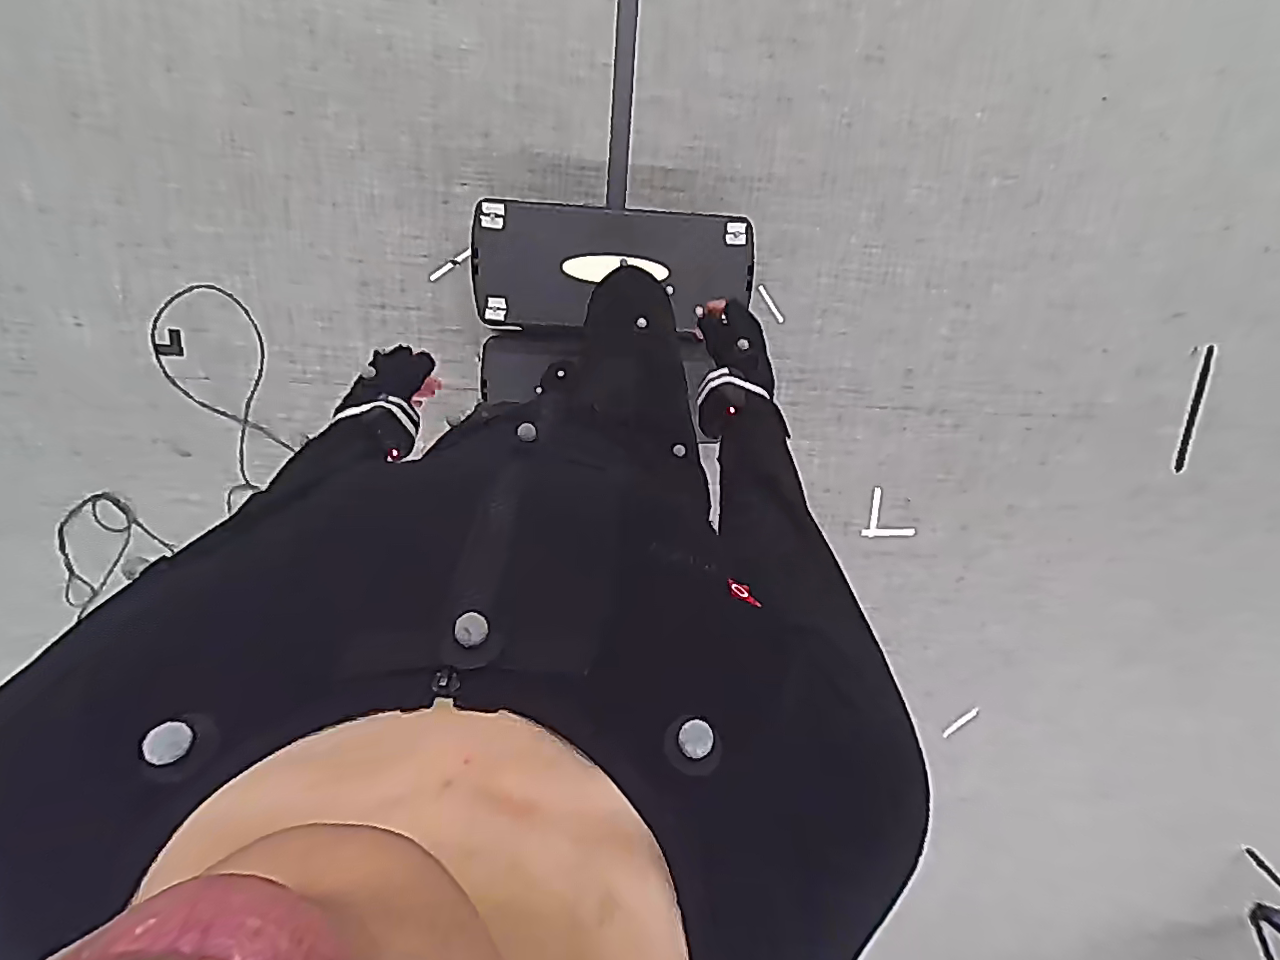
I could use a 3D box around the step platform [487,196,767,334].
[{"bbox_3d":[-0.031,-0.527,1.359,0.684,0.204,0.286,0,104,-6],"label":"step platform"}]
